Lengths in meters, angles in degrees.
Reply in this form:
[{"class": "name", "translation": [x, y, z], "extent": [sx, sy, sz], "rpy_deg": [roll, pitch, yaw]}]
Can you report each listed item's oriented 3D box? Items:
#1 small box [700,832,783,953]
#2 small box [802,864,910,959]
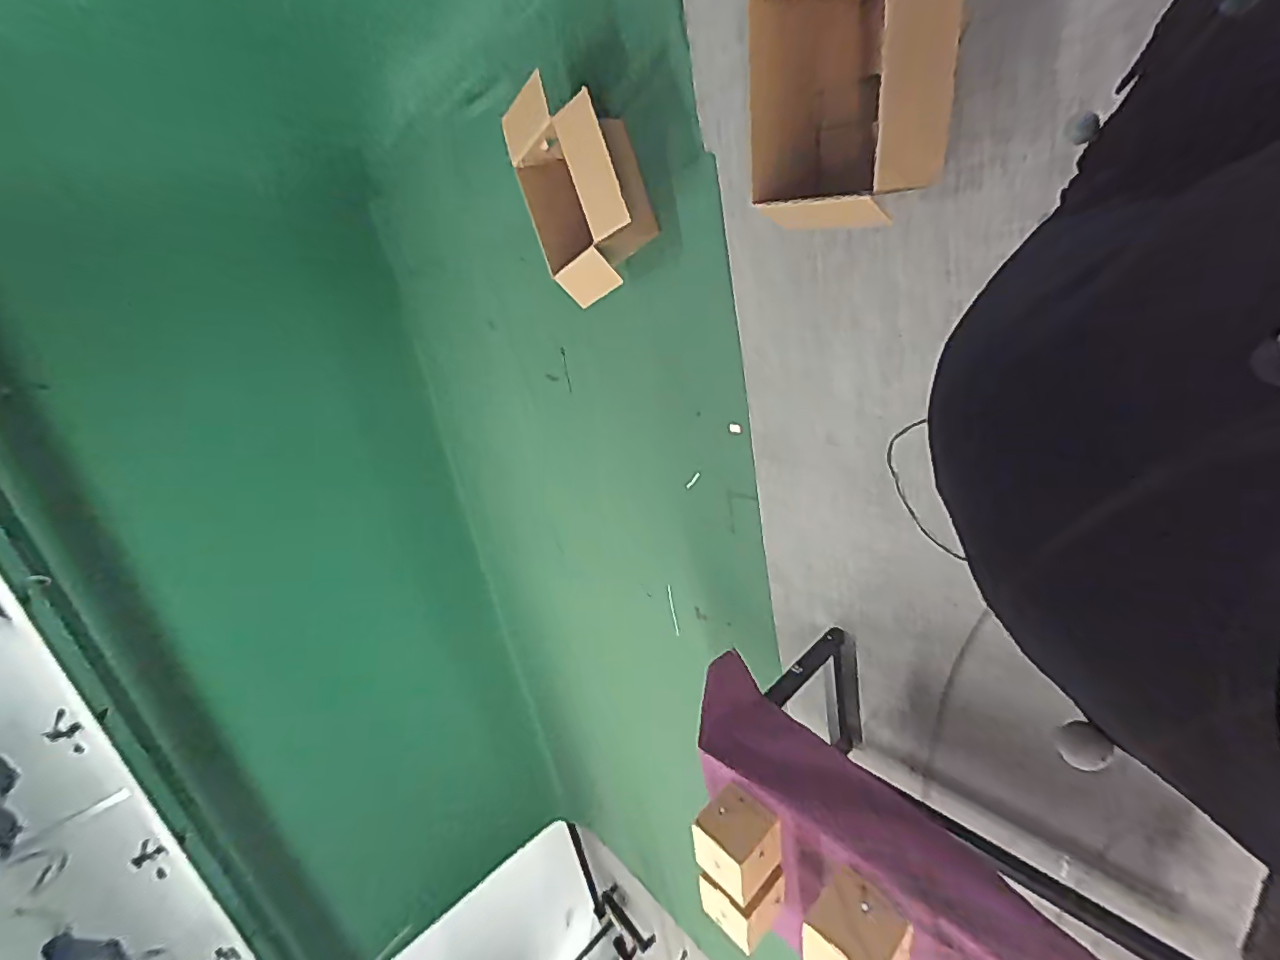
[{"class": "small box", "translation": [0.287, 1.150, 1.523], "extent": [0.168, 0.176, 0.179], "rpy_deg": [21, 126, 44]}, {"class": "small box", "translation": [0.477, 1.016, 1.197], "extent": [0.168, 0.176, 0.179], "rpy_deg": [19, 125, 45]}]
